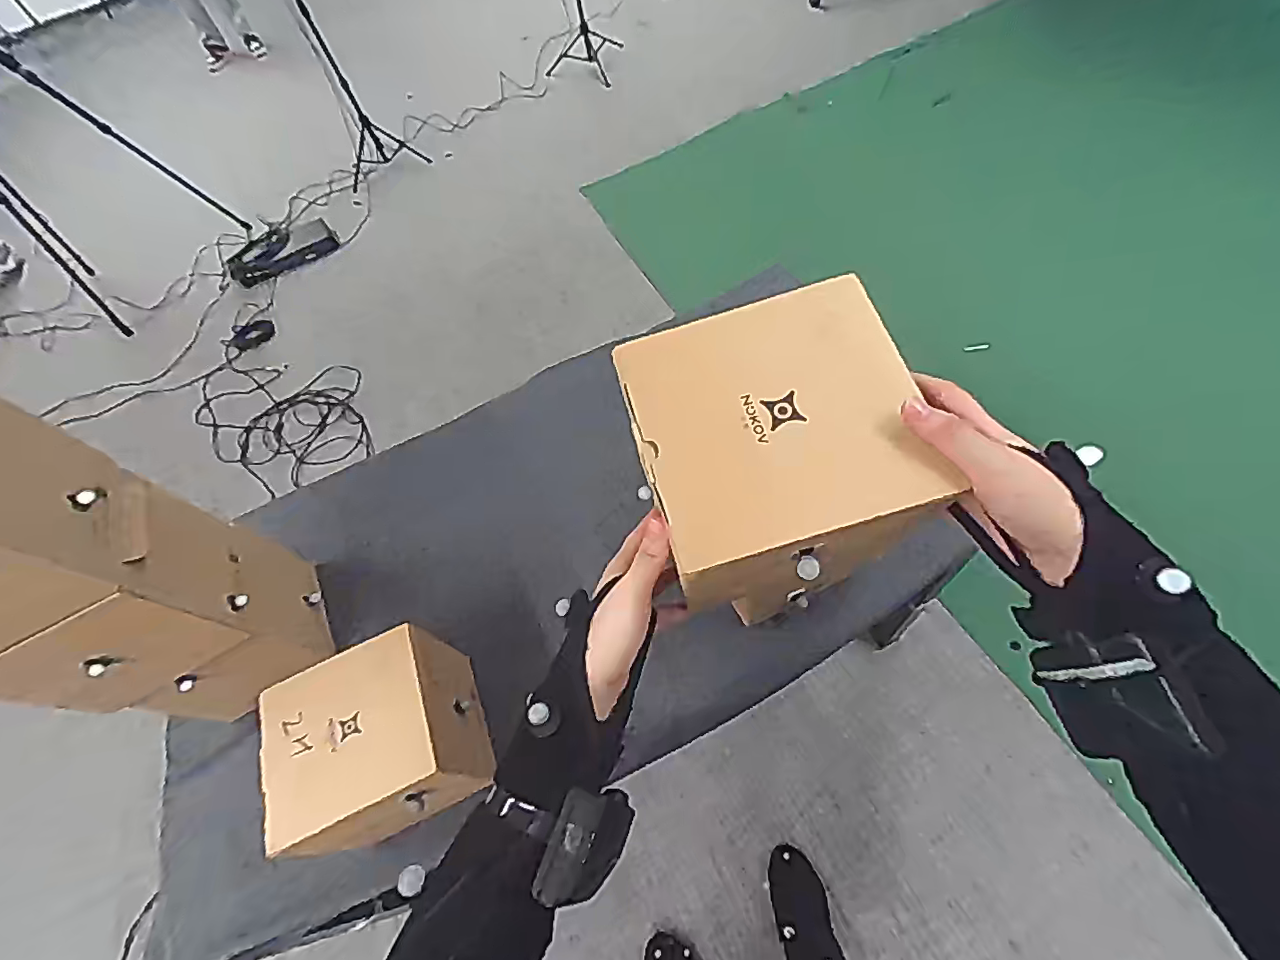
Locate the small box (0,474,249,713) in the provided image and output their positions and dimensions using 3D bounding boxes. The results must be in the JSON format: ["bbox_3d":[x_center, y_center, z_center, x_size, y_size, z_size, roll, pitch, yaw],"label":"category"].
[{"bbox_3d":[-0.569,0.130,0.593,0.179,0.176,0.168,-30,60,-7],"label":"small box"}]

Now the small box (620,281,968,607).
[{"bbox_3d":[0.098,-0.012,0.416,0.179,0.176,0.168,-18,68,2],"label":"small box"}]

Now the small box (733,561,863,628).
[{"bbox_3d":[0.167,0.058,0.686,0.168,0.176,0.179,-27,57,-5],"label":"small box"}]

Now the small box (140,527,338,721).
[{"bbox_3d":[-0.552,0.202,0.741,0.168,0.176,0.179,-30,59,-8],"label":"small box"}]

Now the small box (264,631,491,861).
[{"bbox_3d":[-0.289,0.304,0.626,0.179,0.176,0.168,-25,58,-5],"label":"small box"}]
